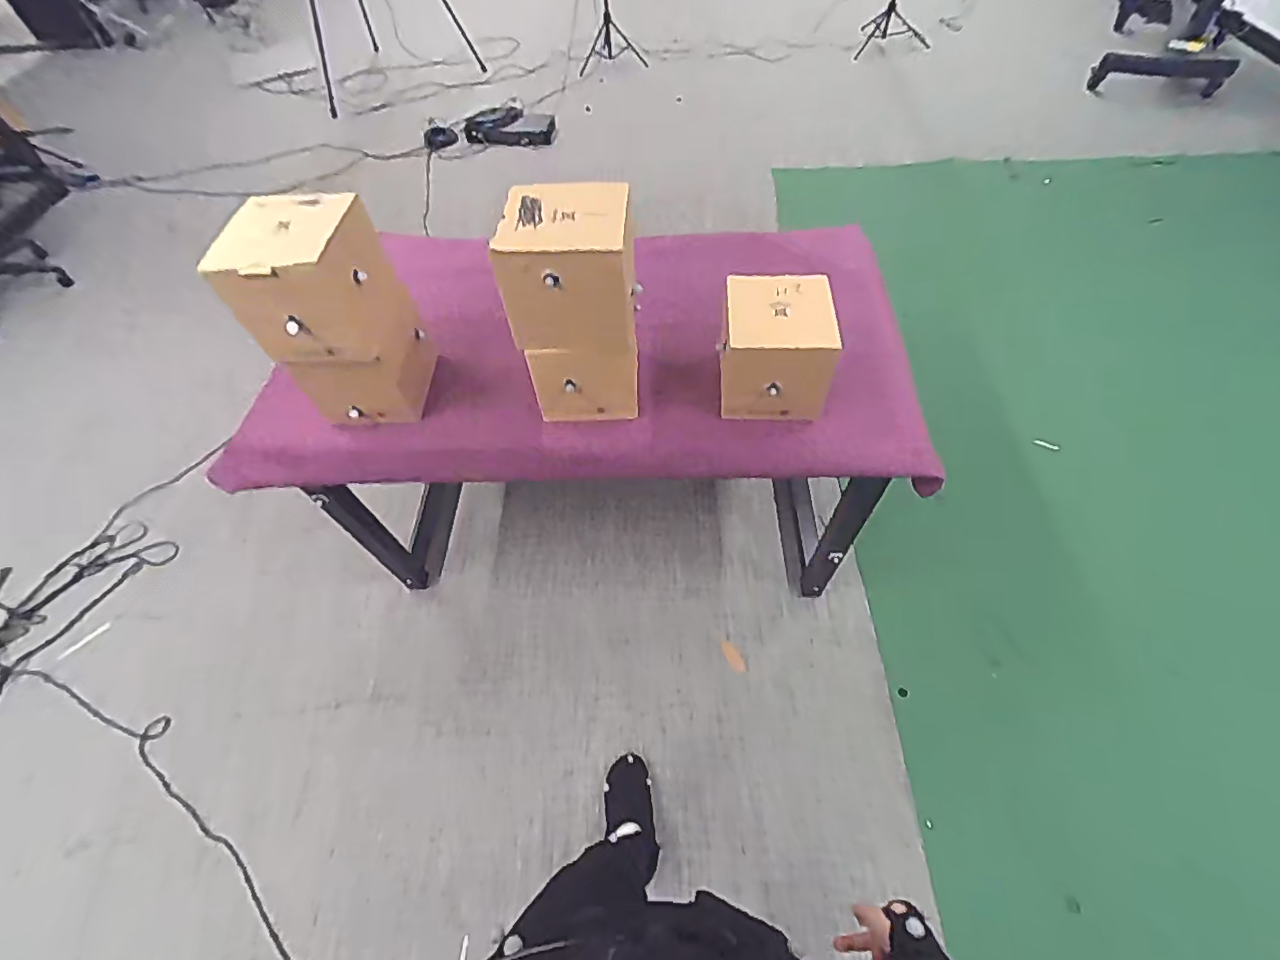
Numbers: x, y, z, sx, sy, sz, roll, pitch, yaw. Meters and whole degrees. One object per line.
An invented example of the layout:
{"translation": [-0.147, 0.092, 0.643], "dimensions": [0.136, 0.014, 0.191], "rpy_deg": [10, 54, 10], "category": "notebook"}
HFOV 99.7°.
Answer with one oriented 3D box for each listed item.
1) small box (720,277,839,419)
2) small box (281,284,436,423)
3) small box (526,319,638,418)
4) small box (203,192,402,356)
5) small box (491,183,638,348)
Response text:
{"translation": [0.225, -0.219, 0.915], "dimensions": [0.168, 0.176, 0.179], "rpy_deg": [2, 55, 5], "category": "small box"}
{"translation": [-0.479, -0.220, 0.955], "dimensions": [0.168, 0.176, 0.179], "rpy_deg": [-2, 57, 2], "category": "small box"}
{"translation": [-0.090, -0.220, 0.935], "dimensions": [0.168, 0.176, 0.179], "rpy_deg": [-2, 55, 2], "category": "small box"}
{"translation": [-0.485, -0.302, 0.813], "dimensions": [0.168, 0.176, 0.179], "rpy_deg": [0, 57, 3], "category": "small box"}
{"translation": [-0.098, -0.312, 0.799], "dimensions": [0.179, 0.176, 0.168], "rpy_deg": [1, 55, 3], "category": "small box"}
